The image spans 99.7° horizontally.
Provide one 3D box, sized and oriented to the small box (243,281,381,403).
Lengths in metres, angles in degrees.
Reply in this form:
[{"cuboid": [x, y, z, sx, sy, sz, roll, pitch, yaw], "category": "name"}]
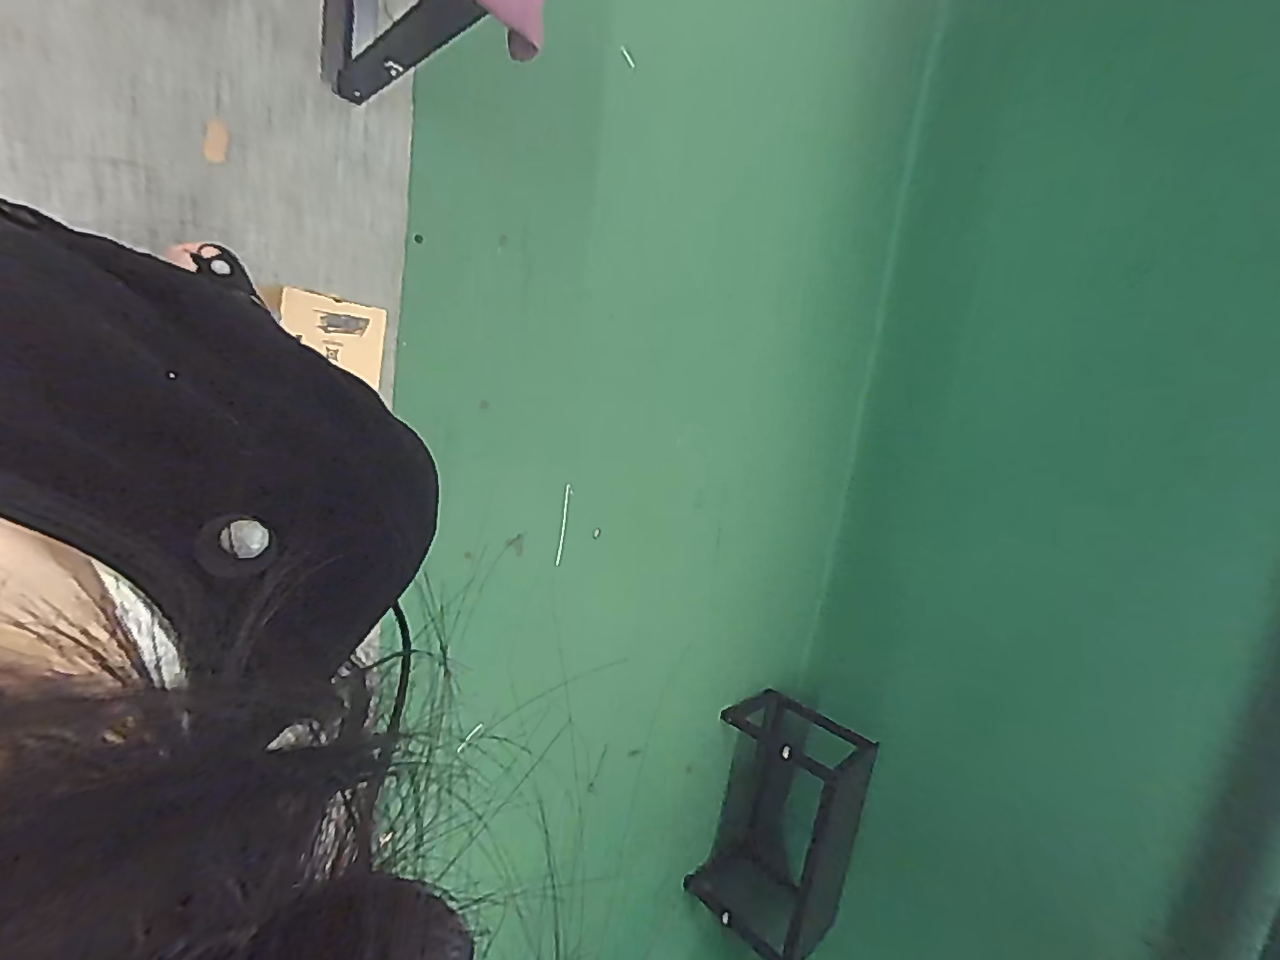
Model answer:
[{"cuboid": [-0.594, -0.246, 0.975, 0.168, 0.176, 0.179, 2, 102, -48], "category": "small box"}]
